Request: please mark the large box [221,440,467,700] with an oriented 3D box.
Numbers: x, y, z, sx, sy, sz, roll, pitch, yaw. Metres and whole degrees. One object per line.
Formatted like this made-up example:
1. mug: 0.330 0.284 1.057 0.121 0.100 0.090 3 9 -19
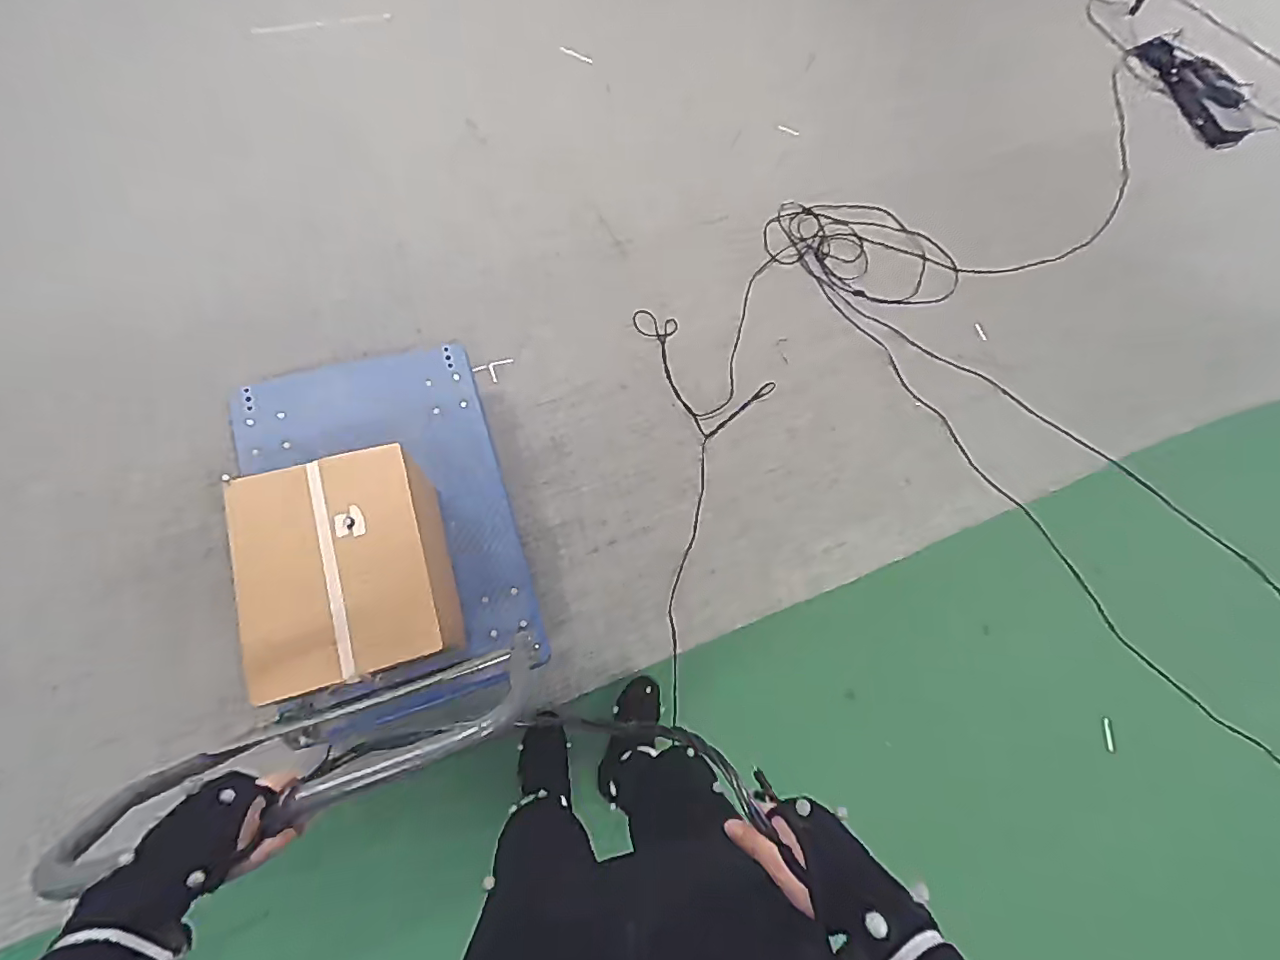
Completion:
1. large box: -0.575 0.184 1.108 0.320 0.320 0.408 -14 77 -13
